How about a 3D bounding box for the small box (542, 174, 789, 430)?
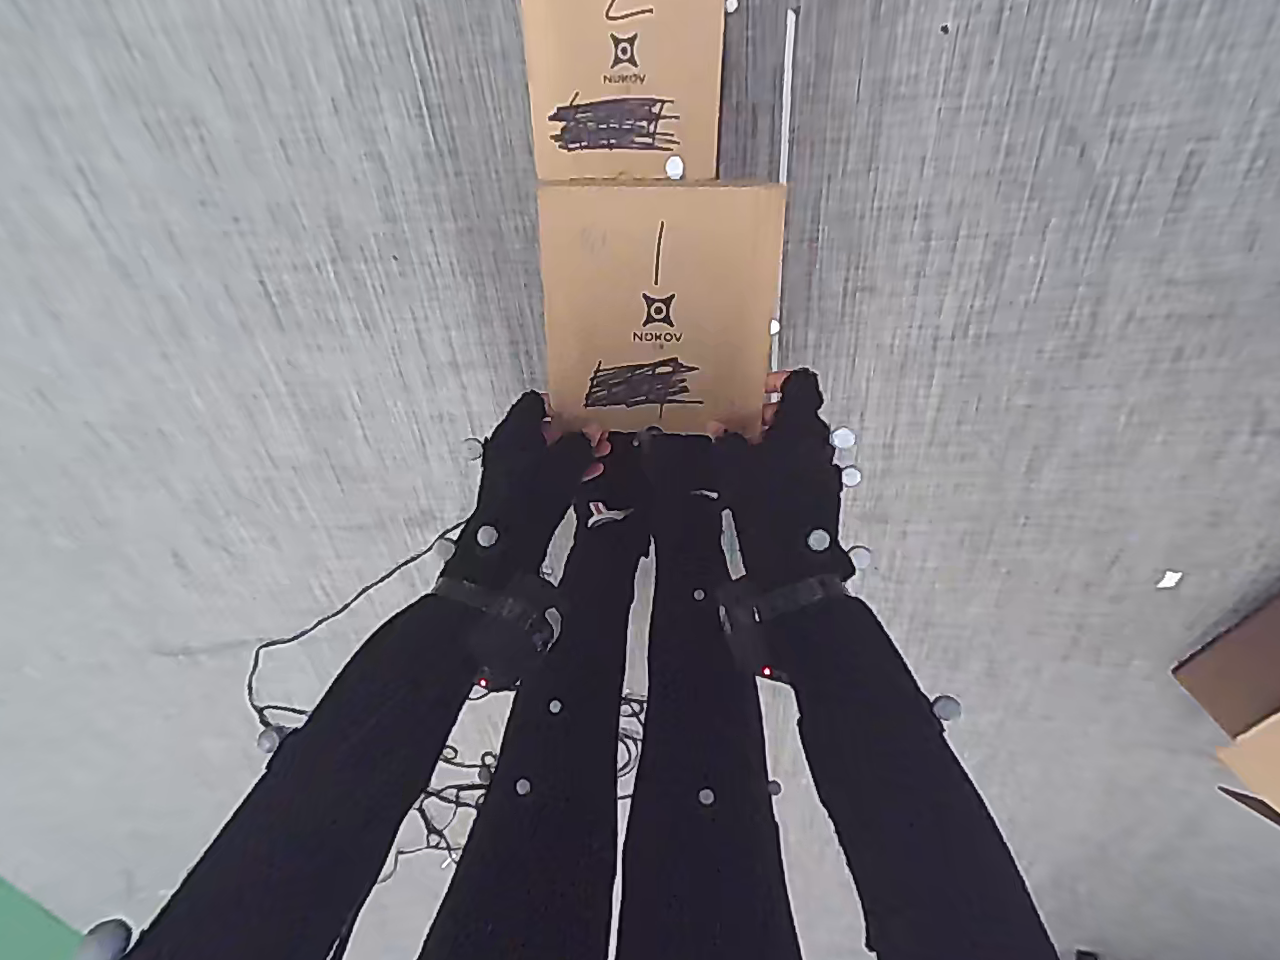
[{"bbox_3d":[0.022,-0.159,0.463,0.168,0.176,0.179,3,120,4],"label":"small box"}]
